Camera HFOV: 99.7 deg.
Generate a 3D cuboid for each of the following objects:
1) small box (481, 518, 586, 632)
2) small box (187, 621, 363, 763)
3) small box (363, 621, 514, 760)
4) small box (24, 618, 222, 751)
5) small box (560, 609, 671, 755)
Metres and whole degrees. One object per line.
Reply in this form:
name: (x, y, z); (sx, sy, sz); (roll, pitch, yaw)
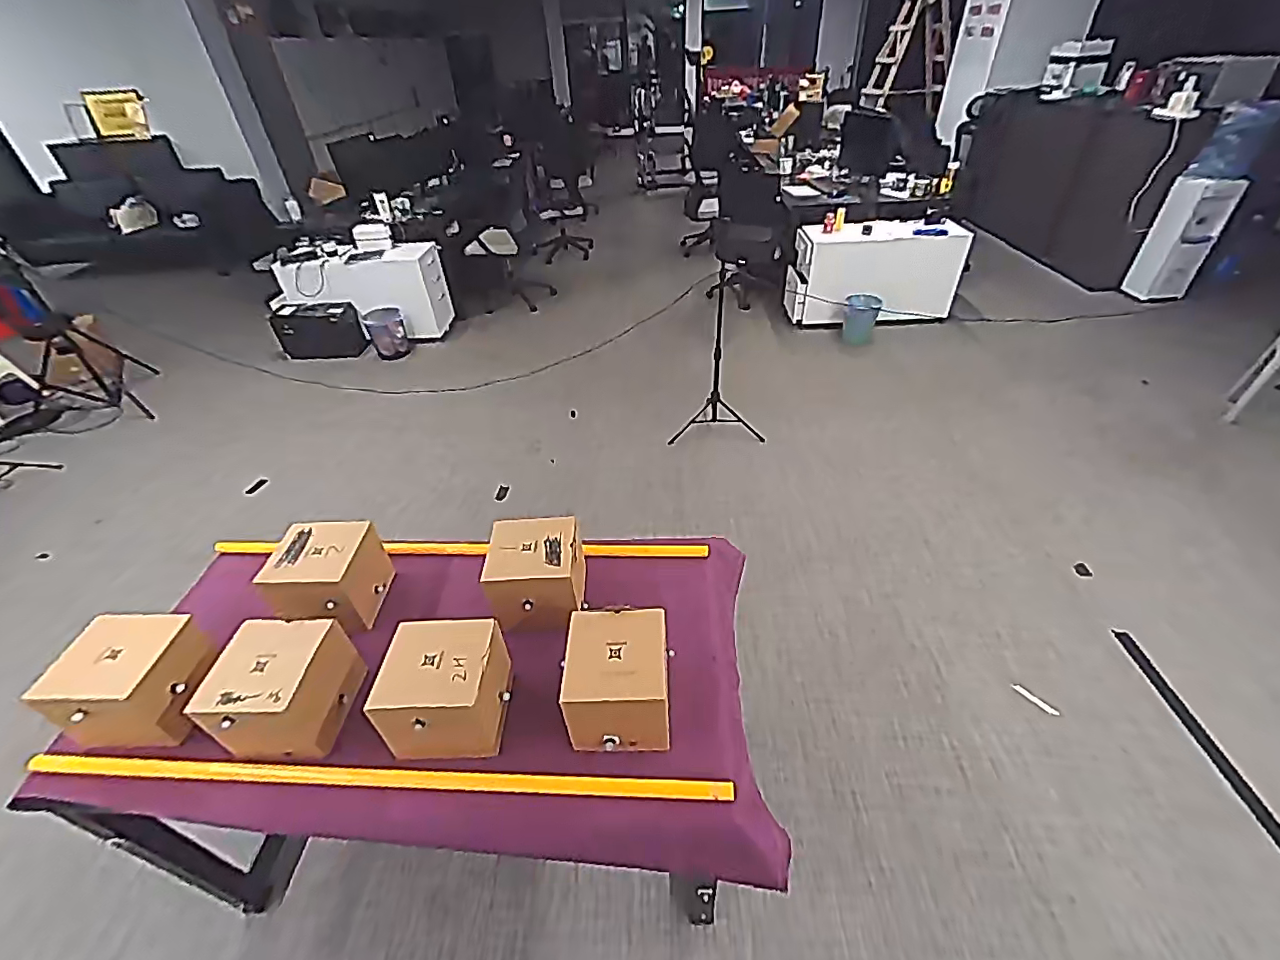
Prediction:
small box: (-0.210, 0.199, 1.125); (0.179, 0.176, 0.168); (-4, 40, 2)
small box: (-0.618, 0.369, 0.949); (0.168, 0.176, 0.179); (-2, 39, 4)
small box: (-0.332, 0.364, 0.931); (0.179, 0.176, 0.168); (-2, 38, 3)
small box: (-0.897, 0.368, 0.973); (0.179, 0.176, 0.168); (-1, 39, 3)
small box: (-0.034, 0.345, 0.929); (0.168, 0.176, 0.179); (-3, 37, 3)
